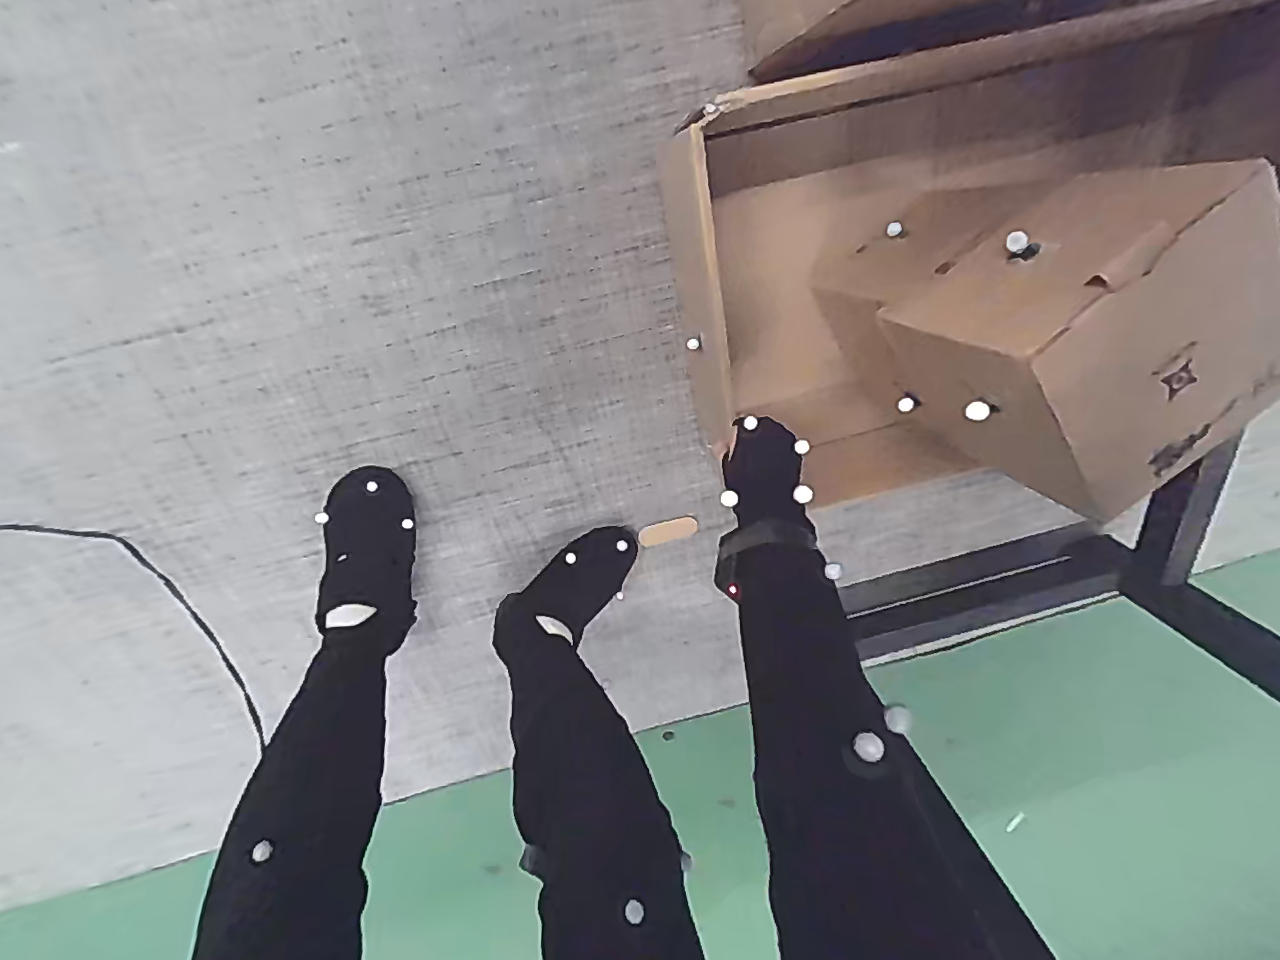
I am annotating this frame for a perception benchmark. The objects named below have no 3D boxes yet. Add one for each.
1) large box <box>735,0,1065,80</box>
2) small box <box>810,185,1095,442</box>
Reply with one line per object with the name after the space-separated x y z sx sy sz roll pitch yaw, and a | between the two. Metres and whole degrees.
0.289 -0.535 0.379 0.408 0.320 0.320 -14 117 -1 | large box
0.314 -0.175 0.568 0.168 0.176 0.179 -36 115 6 | small box
